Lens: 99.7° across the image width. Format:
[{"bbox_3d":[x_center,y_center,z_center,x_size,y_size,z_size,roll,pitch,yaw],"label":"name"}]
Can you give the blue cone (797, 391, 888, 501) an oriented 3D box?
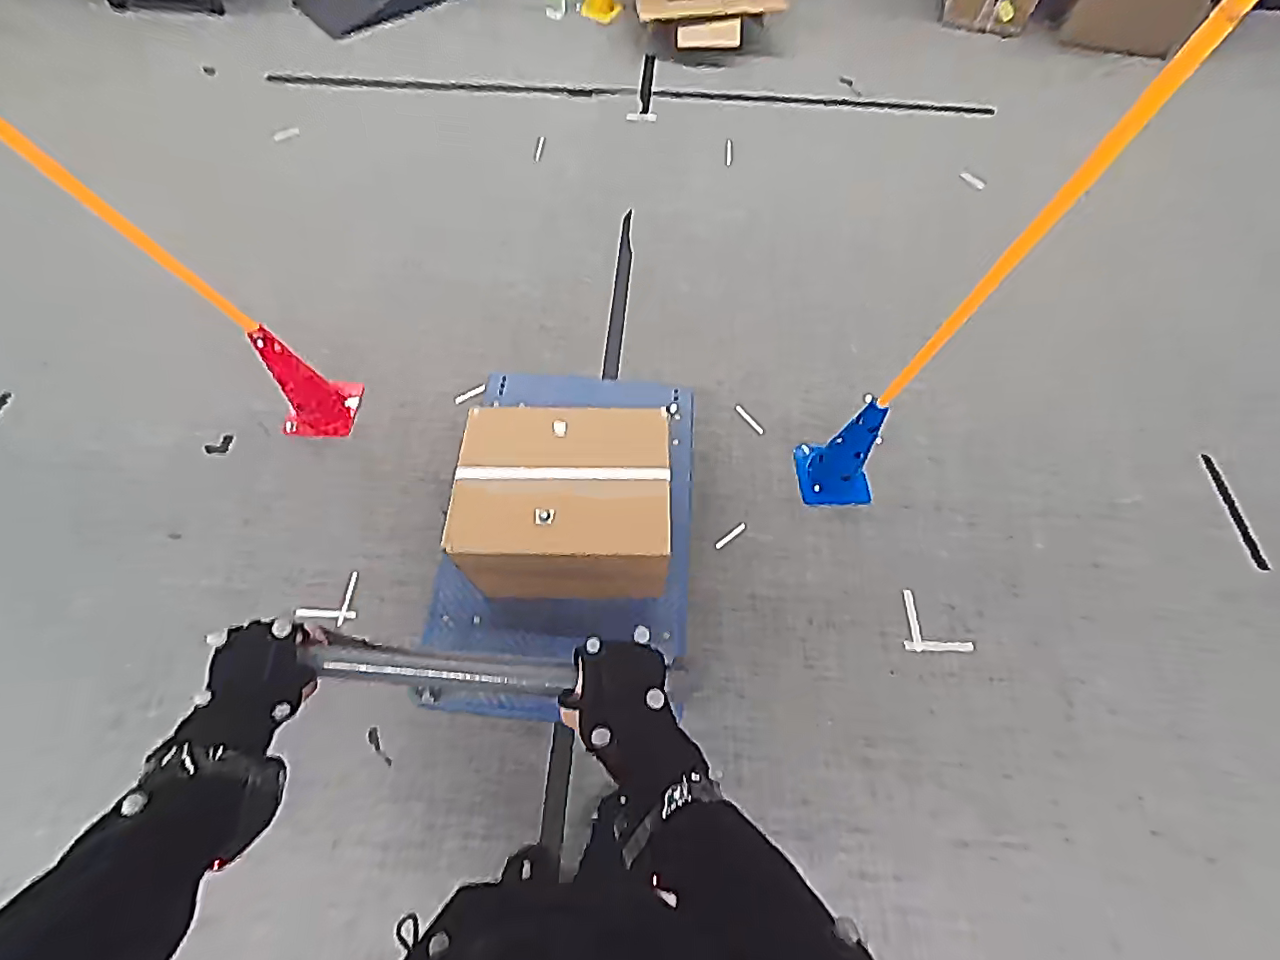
[{"bbox_3d":[0.568,-0.101,1.439,0.193,0.380,0.192,0,62,-1],"label":"blue cone"}]
